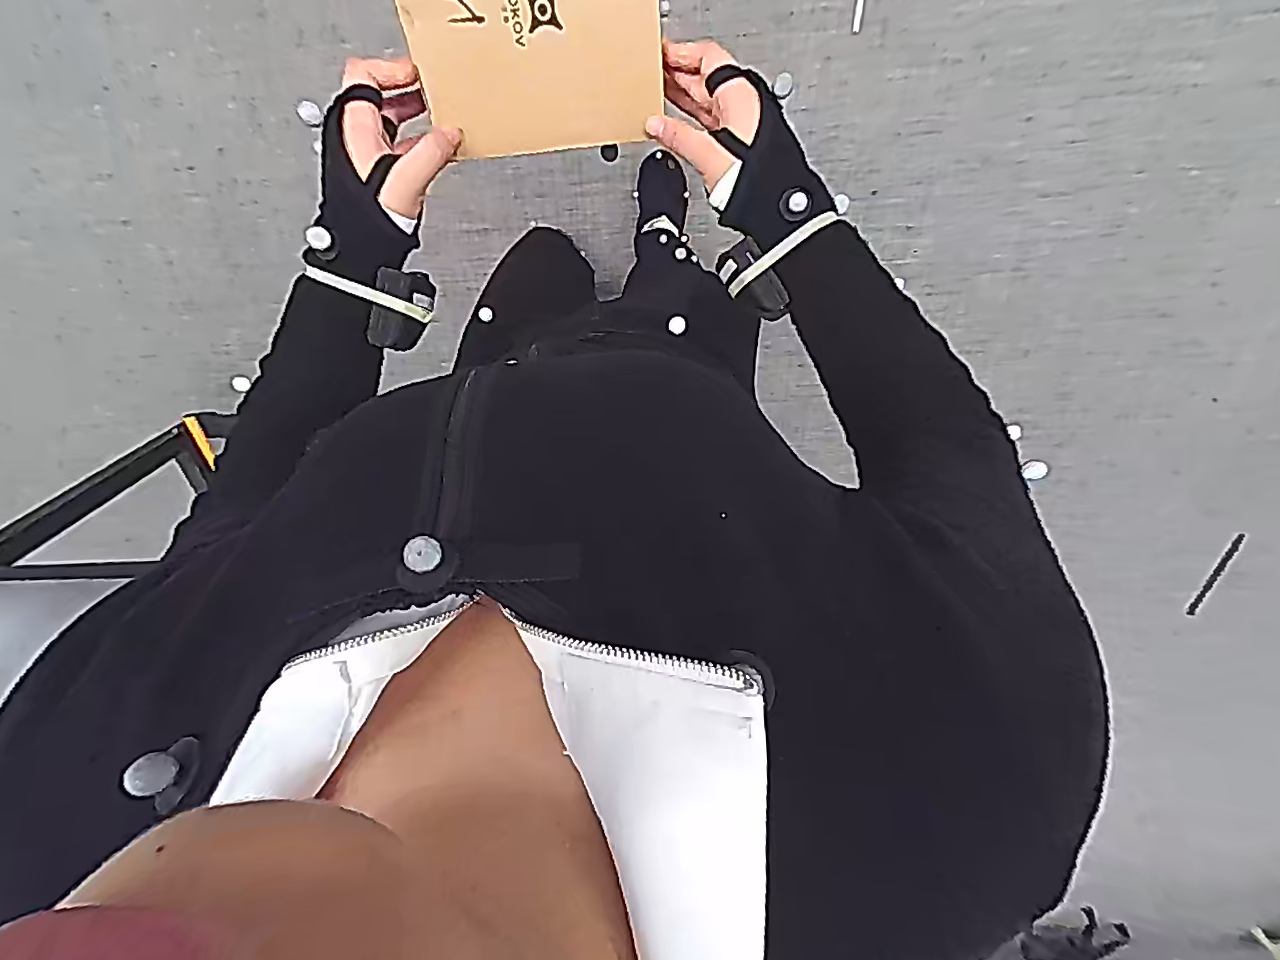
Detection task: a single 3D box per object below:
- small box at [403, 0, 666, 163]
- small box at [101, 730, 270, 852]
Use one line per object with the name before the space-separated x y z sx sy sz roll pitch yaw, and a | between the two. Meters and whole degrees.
small box | -0.077 -0.369 0.432 0.179 0.176 0.168 -5 129 1
small box | -0.924 0.639 1.121 0.179 0.176 0.168 -1 124 1
